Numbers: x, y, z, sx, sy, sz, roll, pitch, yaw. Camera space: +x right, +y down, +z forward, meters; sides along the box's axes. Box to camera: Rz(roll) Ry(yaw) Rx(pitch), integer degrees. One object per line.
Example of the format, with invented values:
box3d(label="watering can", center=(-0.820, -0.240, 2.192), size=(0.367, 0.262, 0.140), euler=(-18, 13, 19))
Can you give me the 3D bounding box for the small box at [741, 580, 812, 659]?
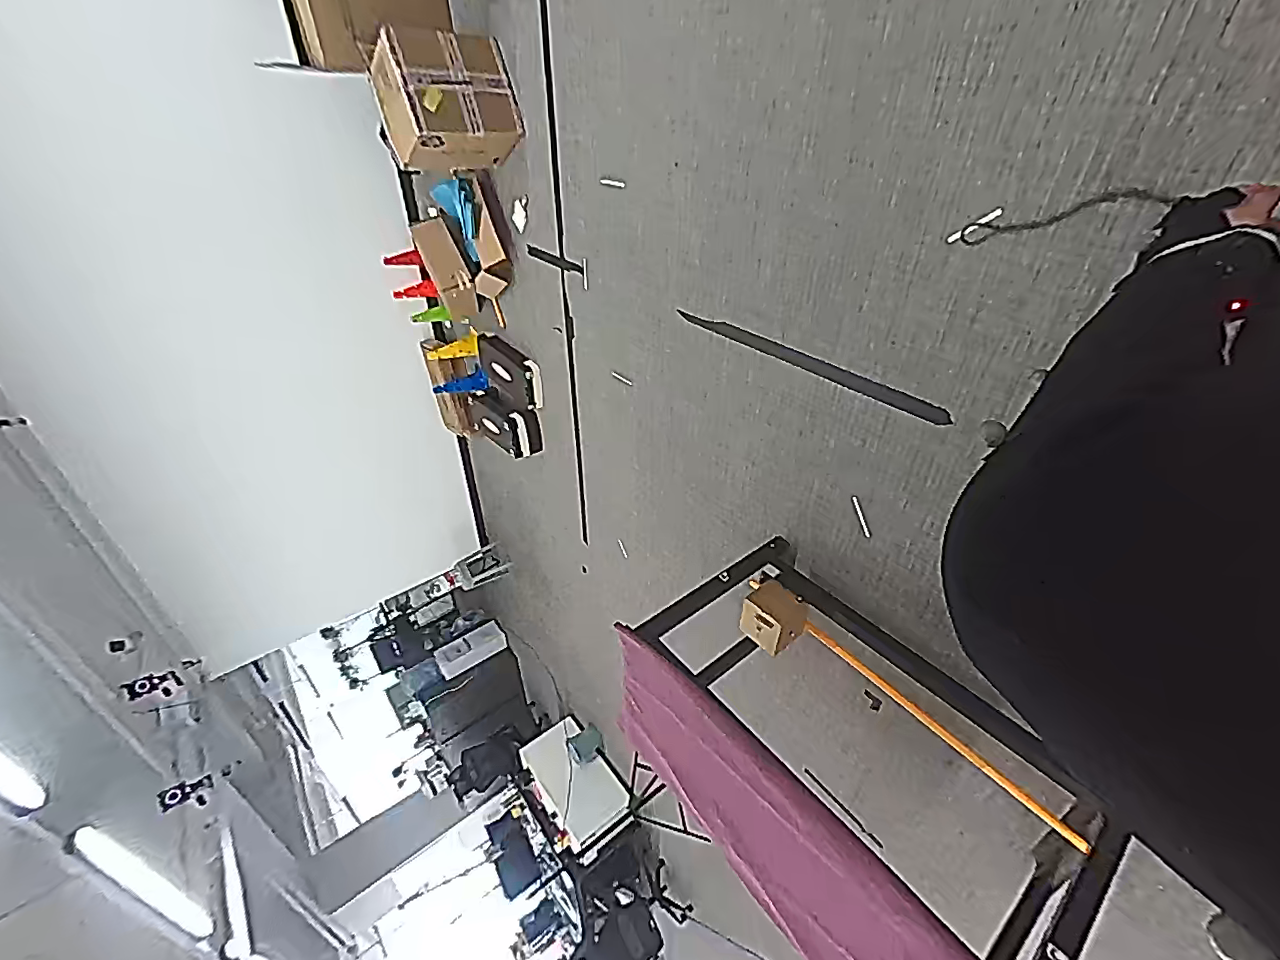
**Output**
box3d(label="small box", center=(0.487, 0.490, 1.922), size=(0.168, 0.176, 0.179), euler=(36, 139, 39))
